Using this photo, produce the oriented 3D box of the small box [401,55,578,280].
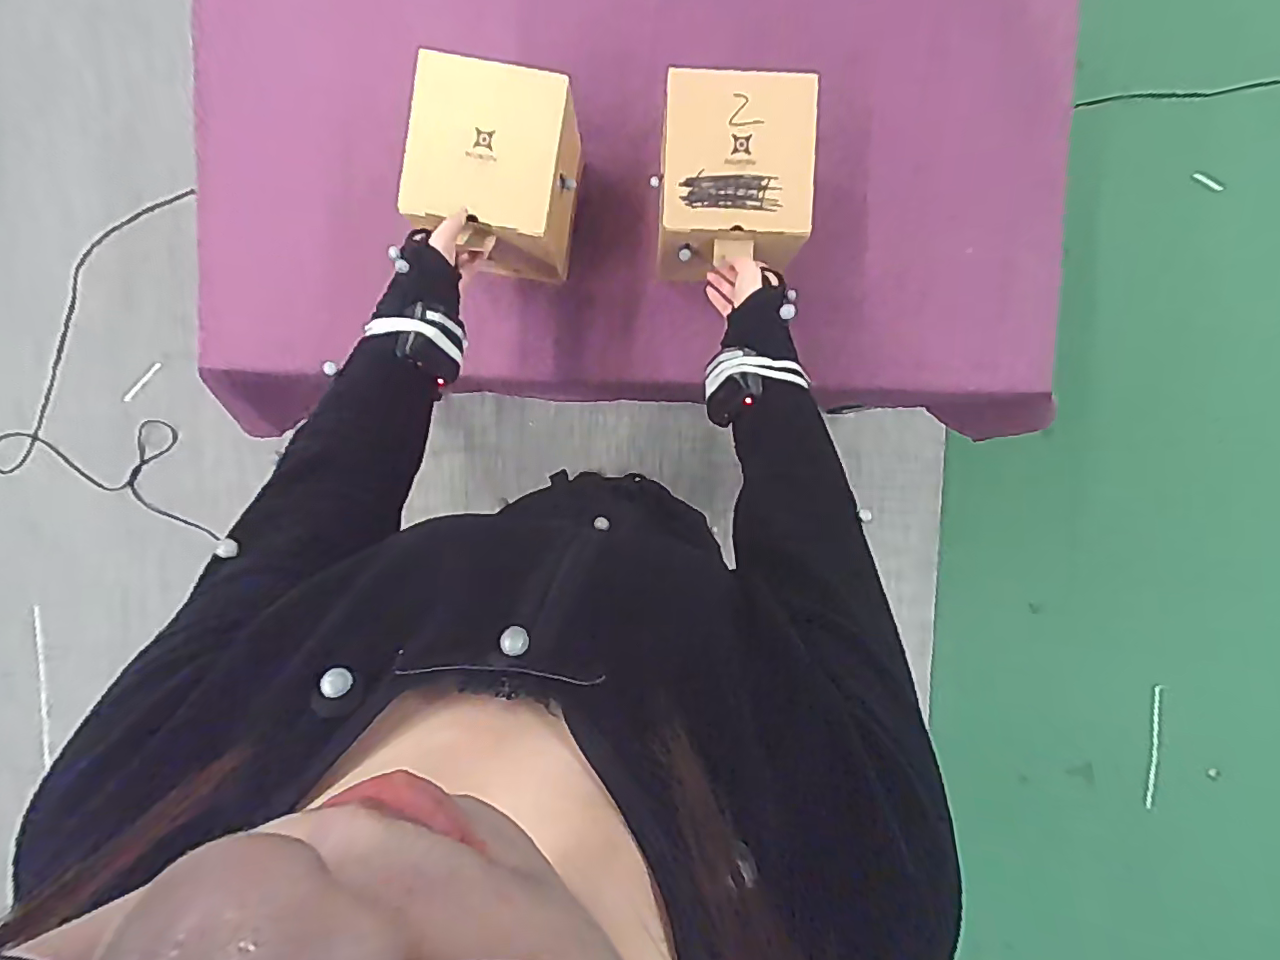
[{"bbox_3d":[-0.176,-0.377,0.684,0.168,0.176,0.179,10,94,-2],"label":"small box"}]
